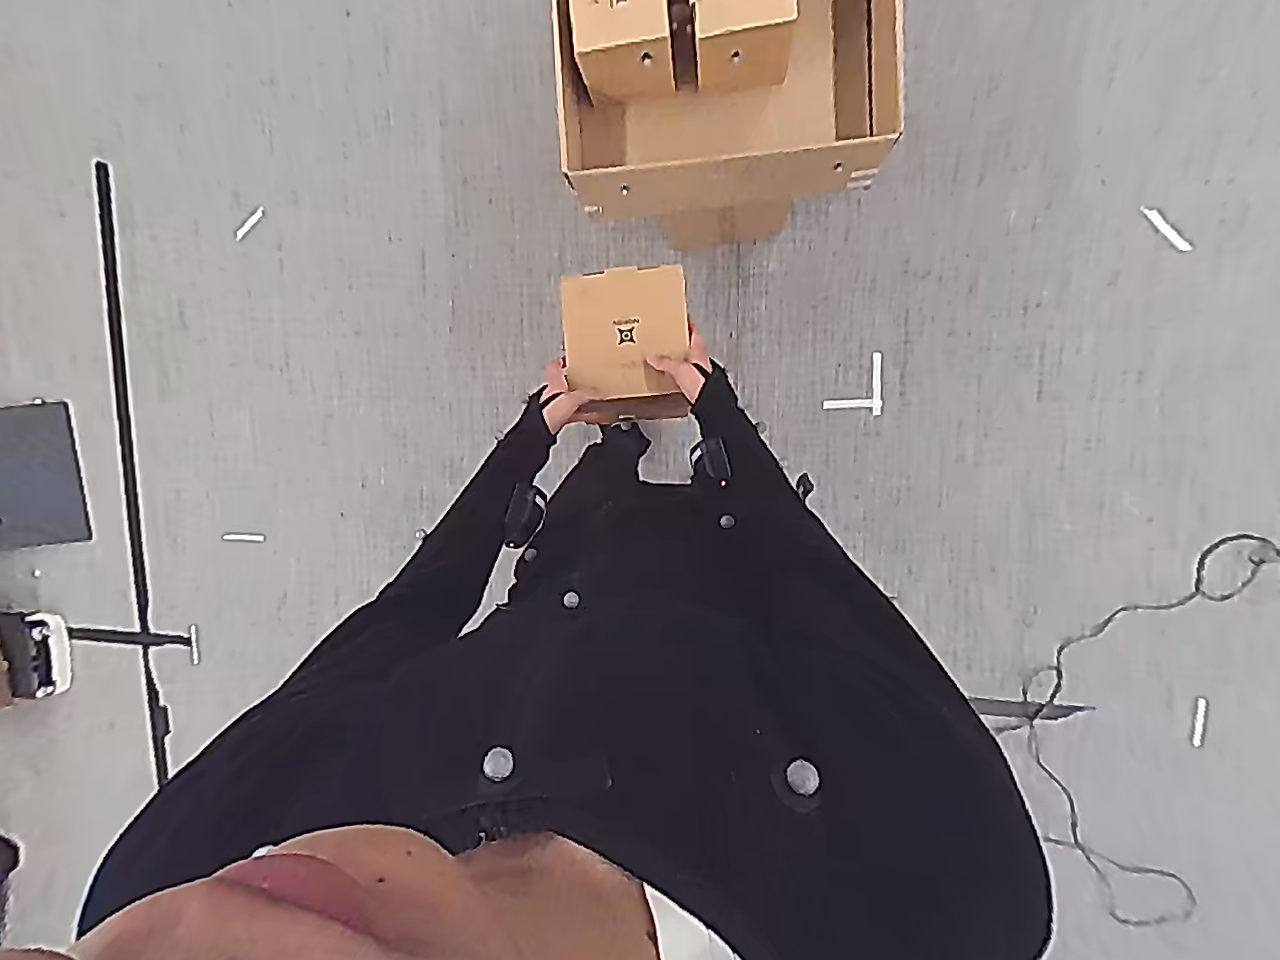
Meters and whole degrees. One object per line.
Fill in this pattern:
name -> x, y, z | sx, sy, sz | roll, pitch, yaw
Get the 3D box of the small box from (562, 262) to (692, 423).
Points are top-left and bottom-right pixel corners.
small box -> -0.016, -0.189, 0.785 | 0.168, 0.176, 0.179 | -4, 85, 3
